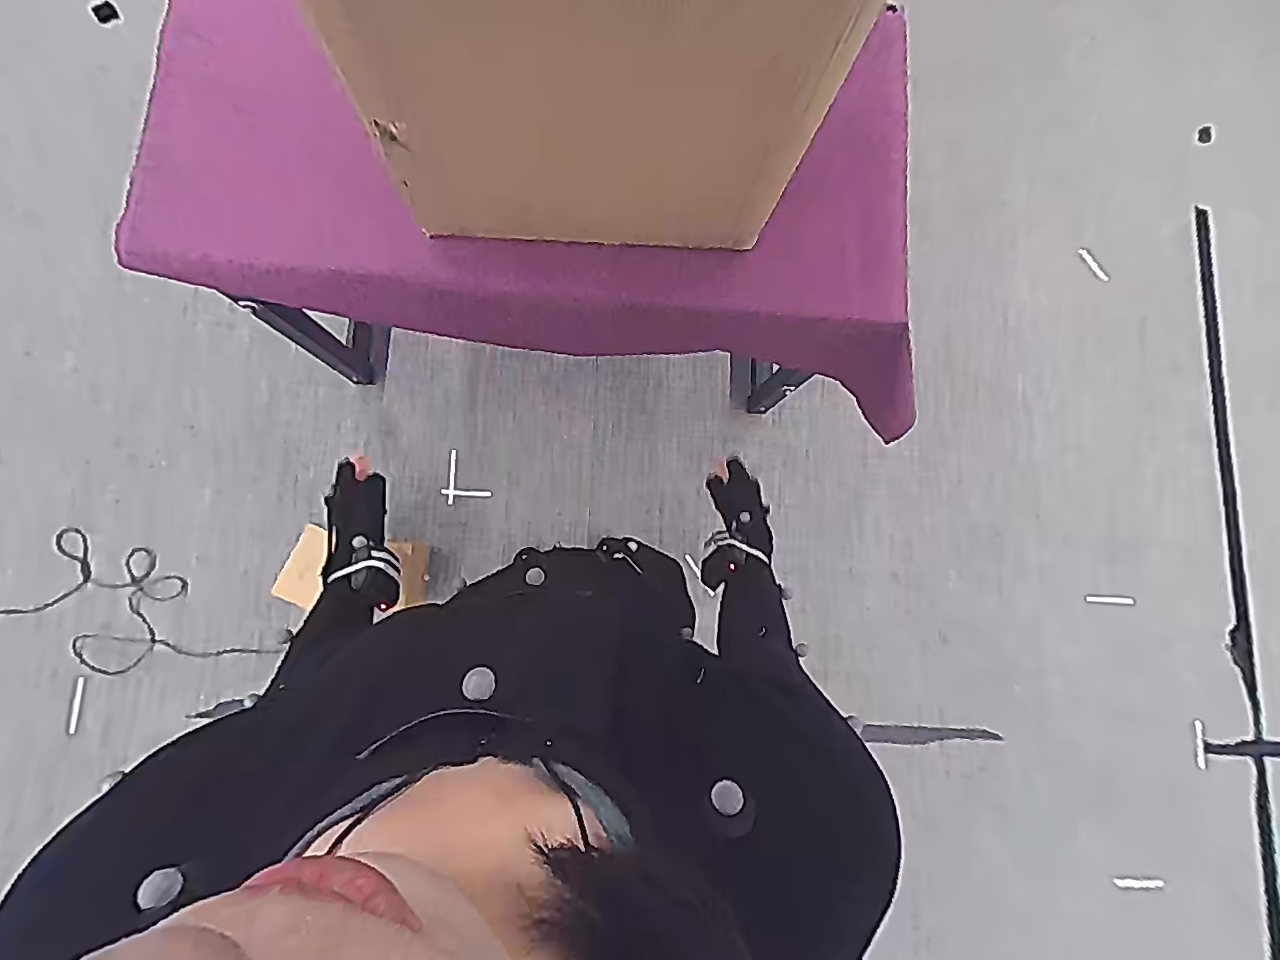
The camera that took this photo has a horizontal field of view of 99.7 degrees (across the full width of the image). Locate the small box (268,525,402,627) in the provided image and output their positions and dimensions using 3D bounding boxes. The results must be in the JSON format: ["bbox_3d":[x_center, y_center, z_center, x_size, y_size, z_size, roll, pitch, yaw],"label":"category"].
[{"bbox_3d":[-0.672,0.211,1.219,0.179,0.176,0.168,24,80,-1],"label":"small box"}]

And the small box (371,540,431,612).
[{"bbox_3d":[-0.657,0.241,1.380,0.179,0.176,0.168,5,83,-5],"label":"small box"}]
